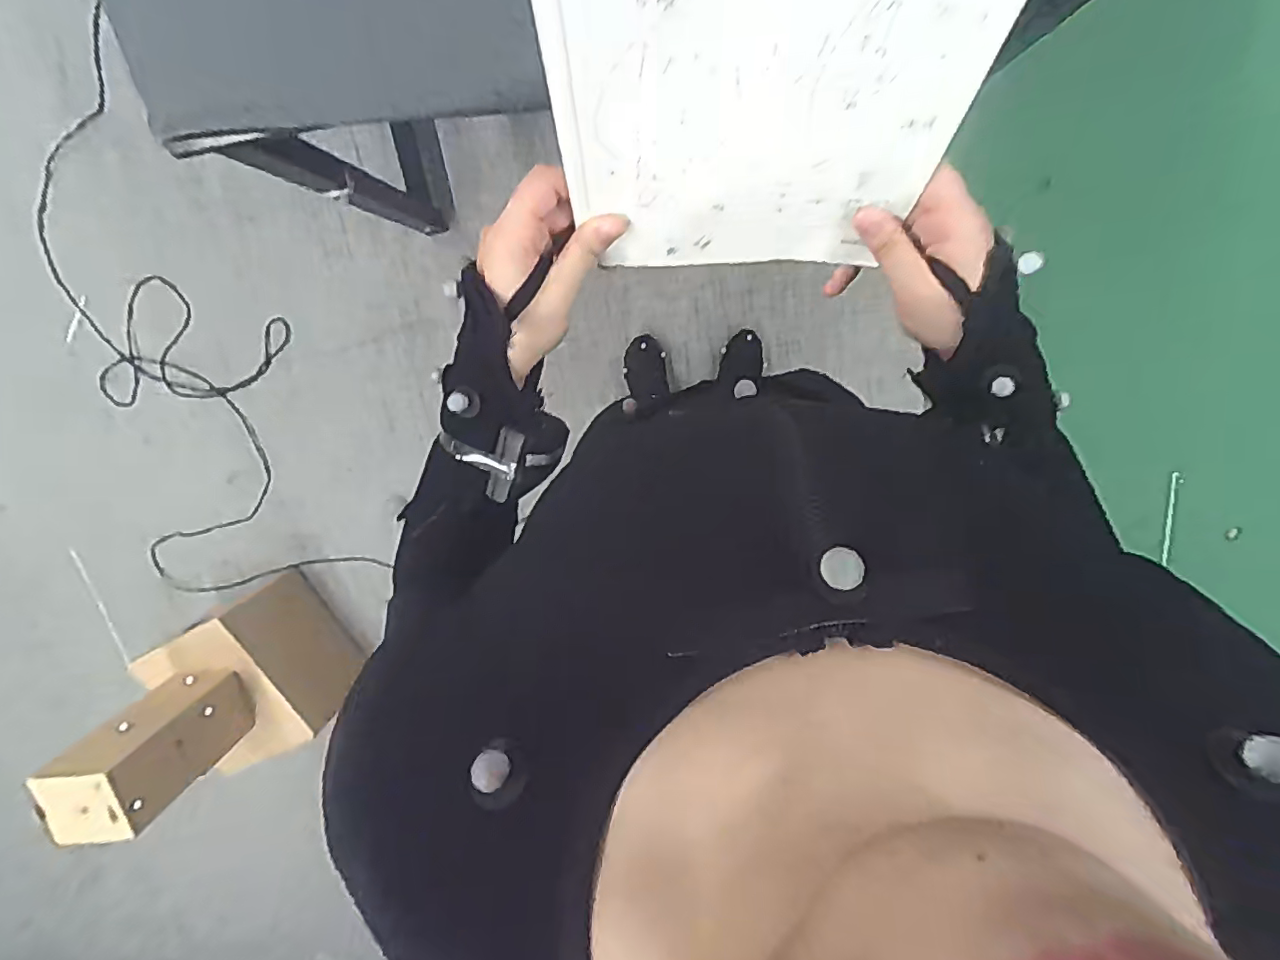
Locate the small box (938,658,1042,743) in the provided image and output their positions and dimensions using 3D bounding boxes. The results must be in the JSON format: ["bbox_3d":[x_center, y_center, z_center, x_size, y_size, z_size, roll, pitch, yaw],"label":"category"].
[{"bbox_3d":[0.972,0.621,1.523,0.179,0.176,0.168,3,107,3],"label":"small box"}]

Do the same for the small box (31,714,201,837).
[{"bbox_3d":[-1.111,0.628,1.162,0.179,0.176,0.168,-6,106,5],"label":"small box"}]
